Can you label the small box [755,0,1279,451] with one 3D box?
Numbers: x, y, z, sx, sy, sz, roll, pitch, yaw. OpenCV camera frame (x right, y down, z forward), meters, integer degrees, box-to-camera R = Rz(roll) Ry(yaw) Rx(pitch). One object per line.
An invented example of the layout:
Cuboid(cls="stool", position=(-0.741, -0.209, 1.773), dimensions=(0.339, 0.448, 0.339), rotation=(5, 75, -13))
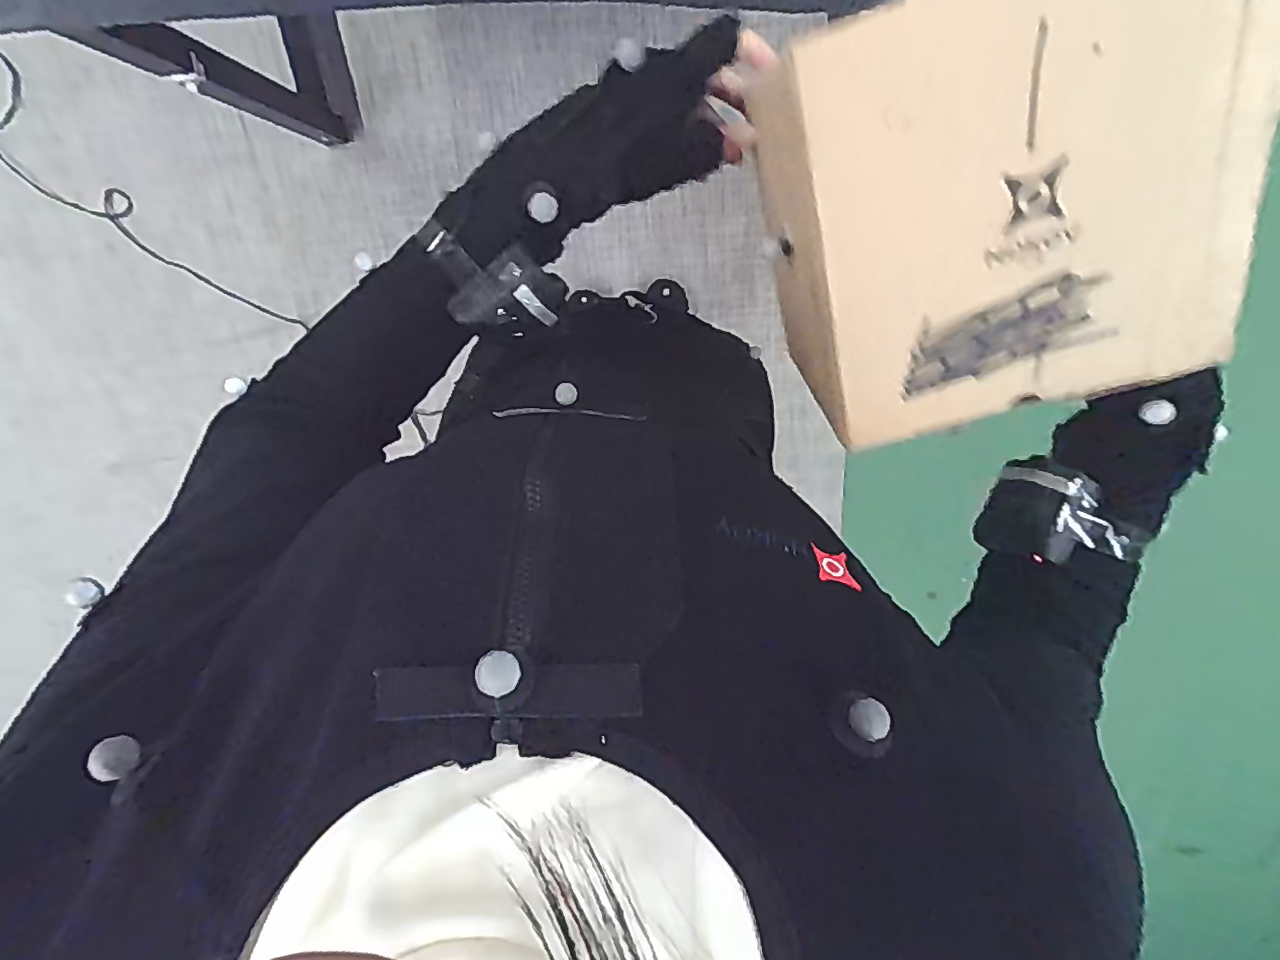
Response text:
Cuboid(cls="small box", position=(0.167, -0.144, 0.301), dimensions=(0.168, 0.176, 0.179), rotation=(-13, 119, 12))
